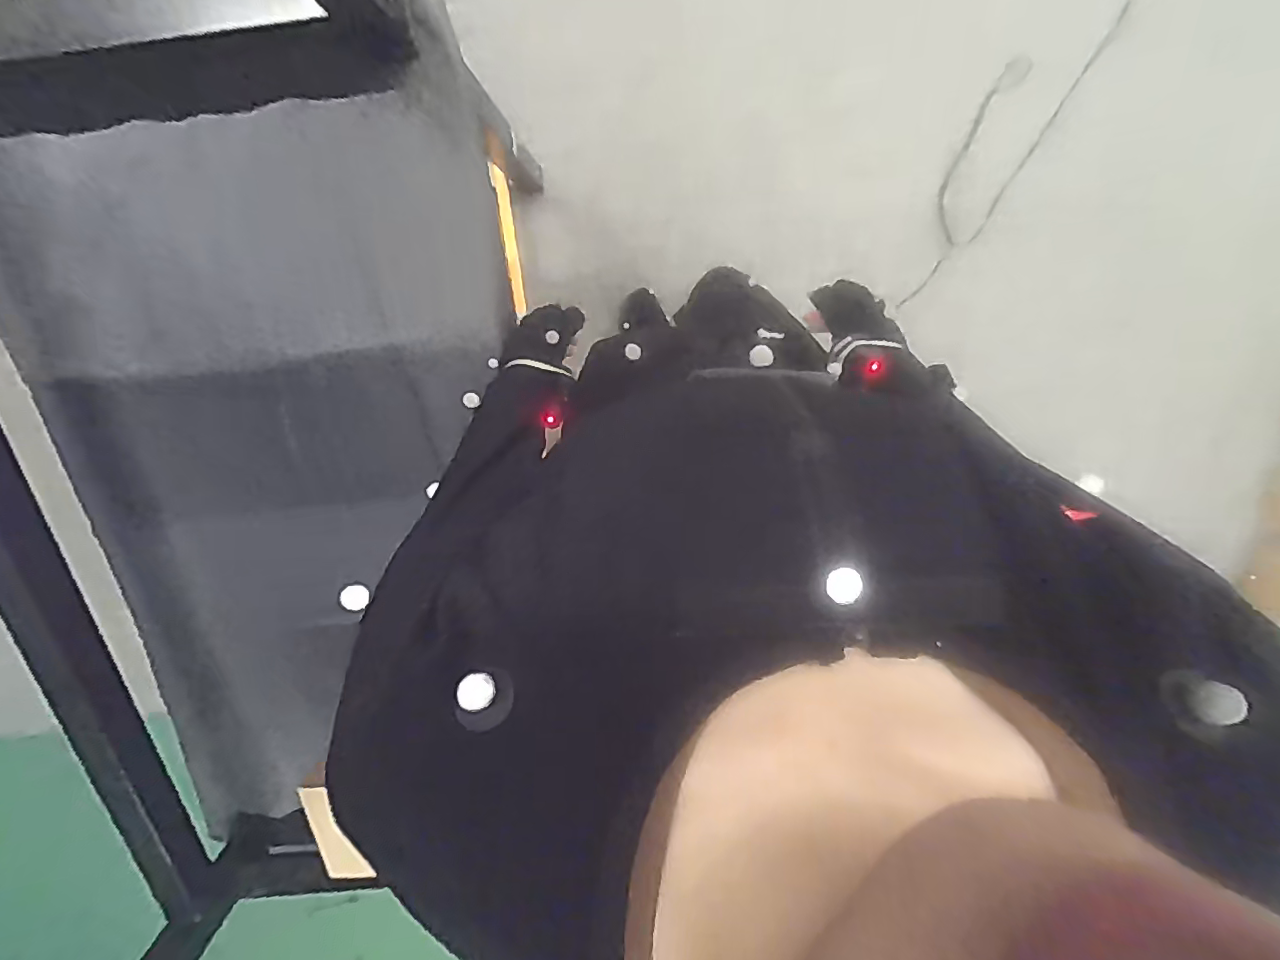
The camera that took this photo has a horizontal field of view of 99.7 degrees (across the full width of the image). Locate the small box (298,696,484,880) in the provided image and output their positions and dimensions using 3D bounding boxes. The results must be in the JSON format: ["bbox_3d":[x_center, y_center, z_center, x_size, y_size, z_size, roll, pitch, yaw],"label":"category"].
[{"bbox_3d":[-0.348,0.440,0.790,0.179,0.176,0.168,-5,108,2],"label":"small box"}]
